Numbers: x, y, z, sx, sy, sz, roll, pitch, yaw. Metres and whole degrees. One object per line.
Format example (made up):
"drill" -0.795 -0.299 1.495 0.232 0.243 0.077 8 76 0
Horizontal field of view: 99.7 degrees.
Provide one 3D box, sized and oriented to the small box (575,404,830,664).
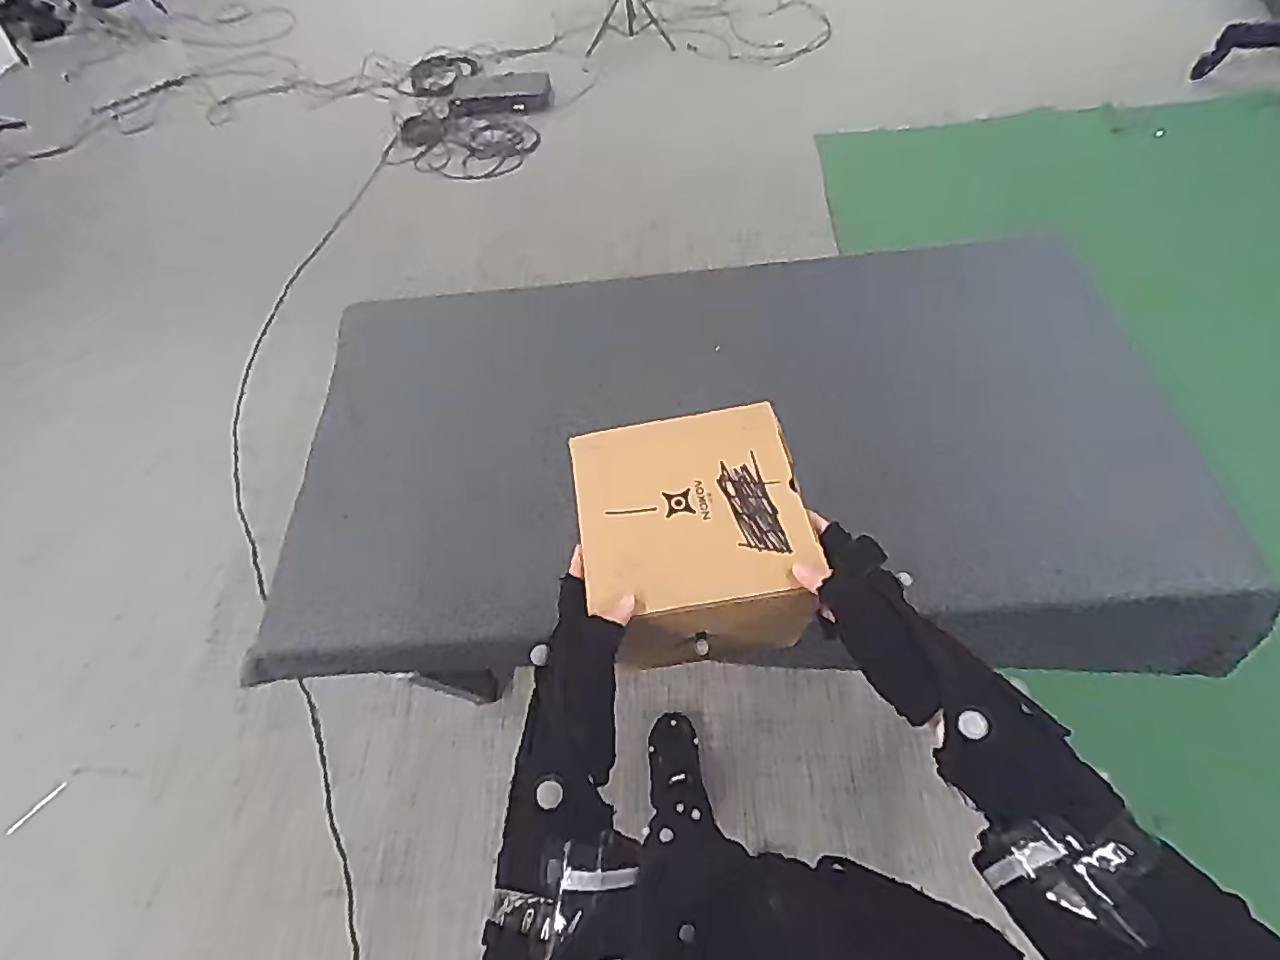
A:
"small box" 0.046 0.057 0.491 0.179 0.176 0.168 -10 59 0
